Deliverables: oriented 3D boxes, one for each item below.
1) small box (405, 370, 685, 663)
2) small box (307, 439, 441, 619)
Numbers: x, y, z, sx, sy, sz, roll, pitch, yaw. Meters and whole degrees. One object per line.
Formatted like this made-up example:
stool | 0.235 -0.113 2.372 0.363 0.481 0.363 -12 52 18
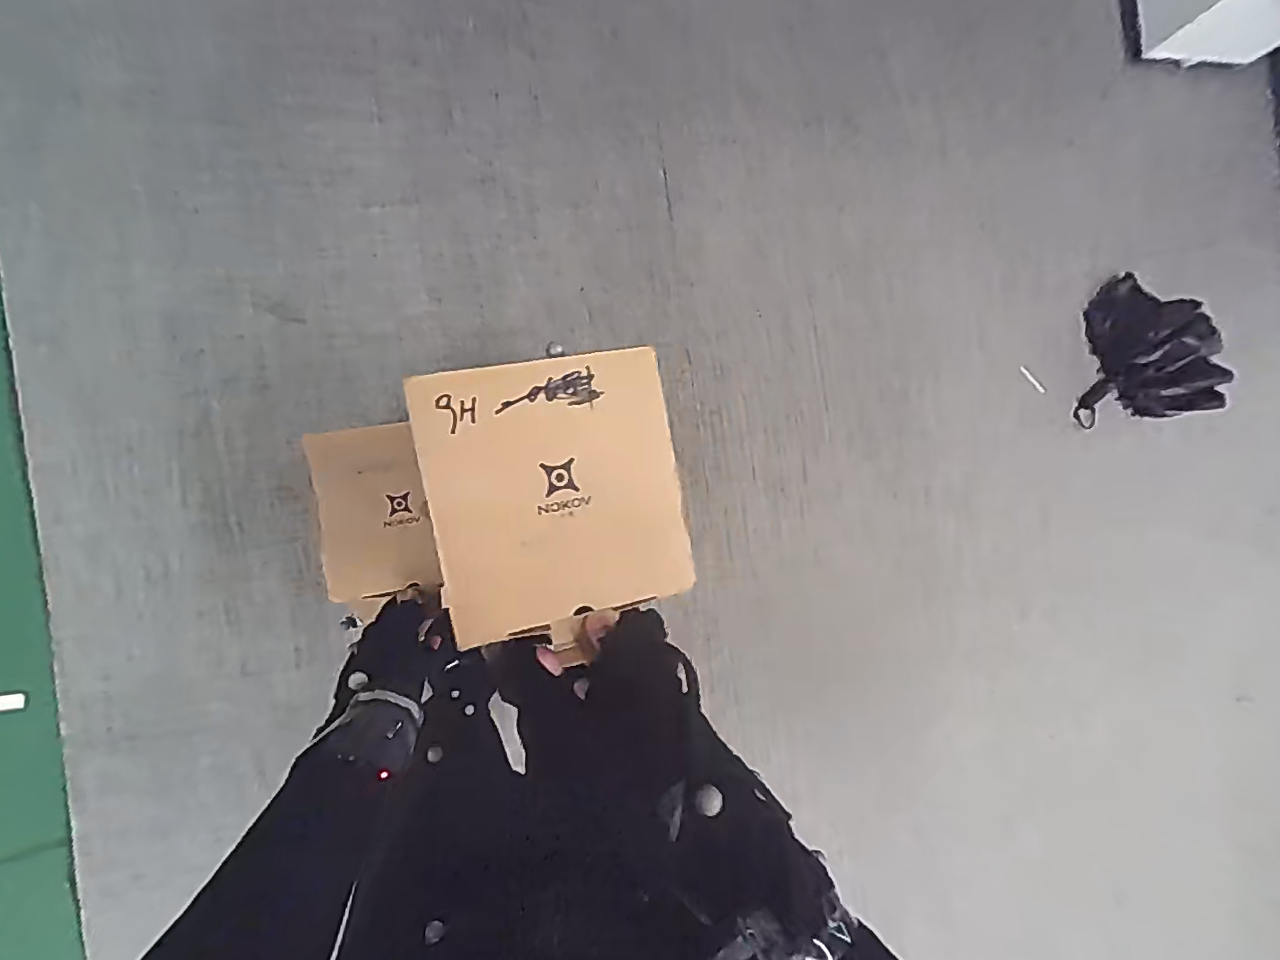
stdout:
small box | -0.080 0.020 0.441 0.168 0.176 0.179 -11 93 -17
small box | -0.258 0.046 0.638 0.168 0.176 0.179 -9 90 -10
